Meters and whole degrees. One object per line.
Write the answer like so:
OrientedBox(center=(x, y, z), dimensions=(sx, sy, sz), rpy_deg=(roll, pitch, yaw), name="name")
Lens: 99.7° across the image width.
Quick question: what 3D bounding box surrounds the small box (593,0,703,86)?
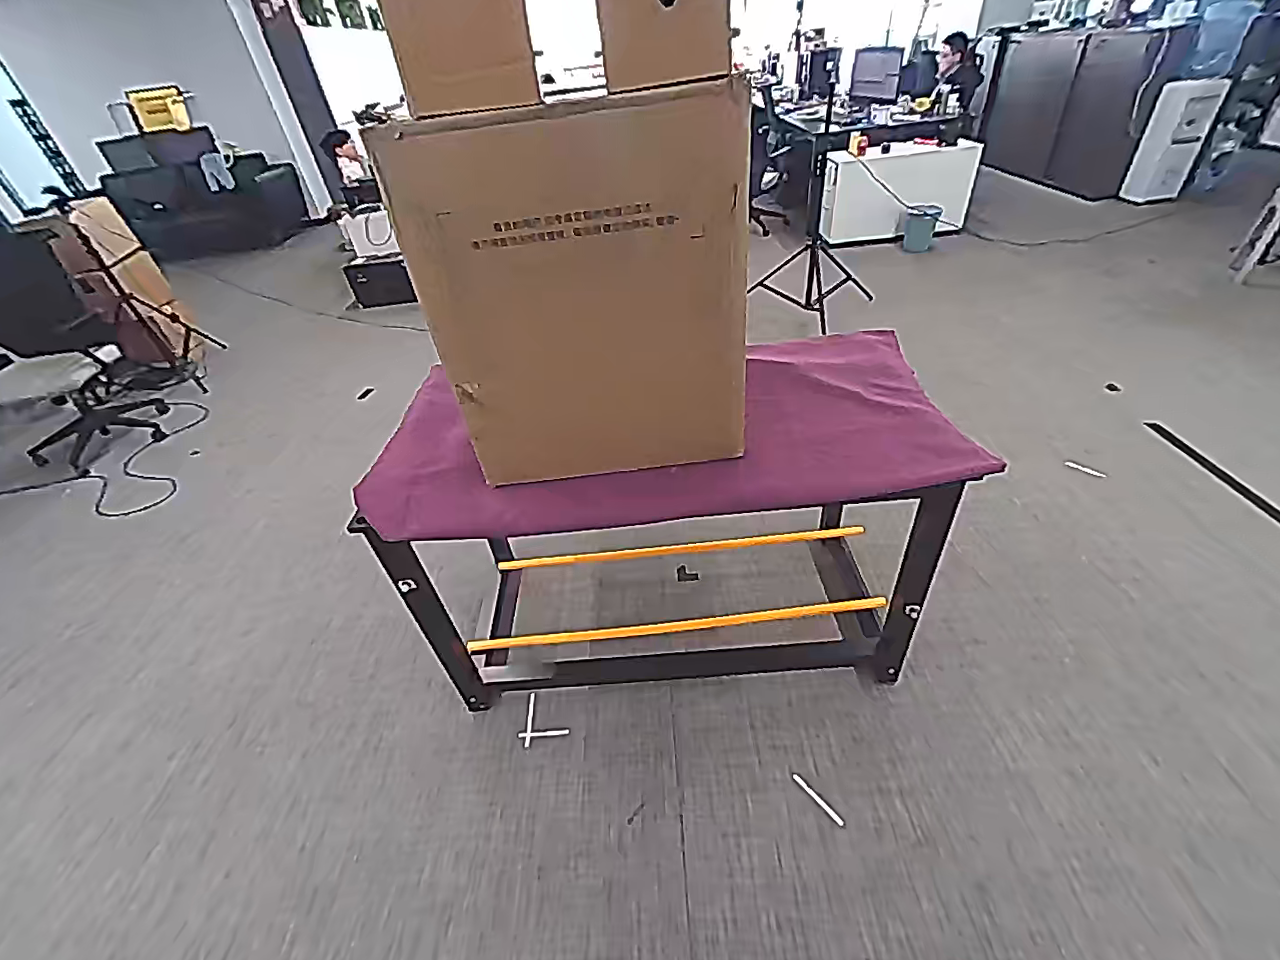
OrientedBox(center=(0.011, -0.758, 0.885), dimensions=(0.168, 0.176, 0.179), rpy_deg=(-6, 39, 3), name="small box")
